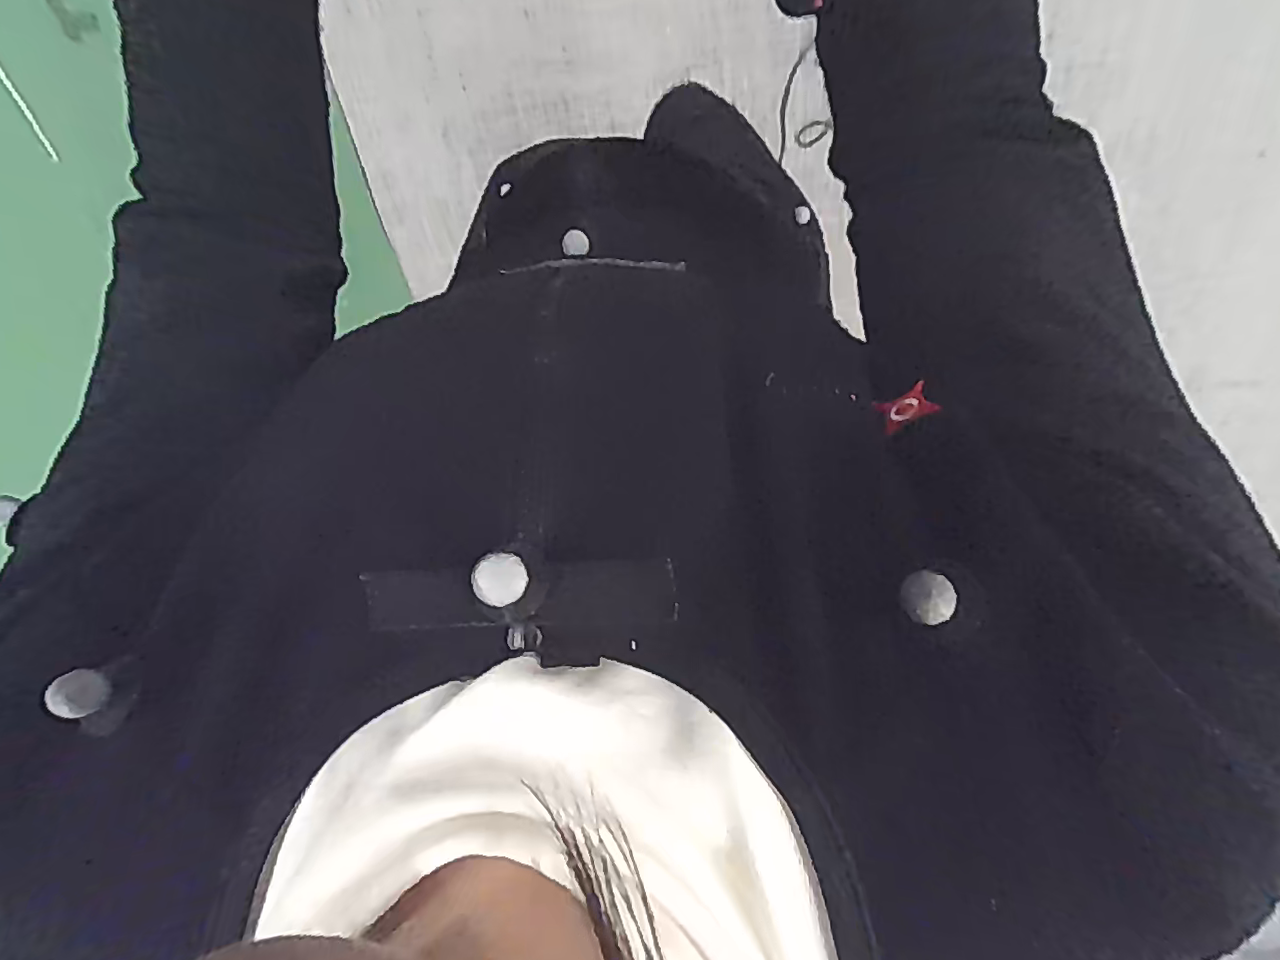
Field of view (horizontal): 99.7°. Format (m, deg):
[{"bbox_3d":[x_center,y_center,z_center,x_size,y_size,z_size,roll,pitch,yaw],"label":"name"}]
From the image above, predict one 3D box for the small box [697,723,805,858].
[{"bbox_3d":[0.195,0.569,1.002,0.179,0.176,0.168,-3,125,5],"label":"small box"}]
